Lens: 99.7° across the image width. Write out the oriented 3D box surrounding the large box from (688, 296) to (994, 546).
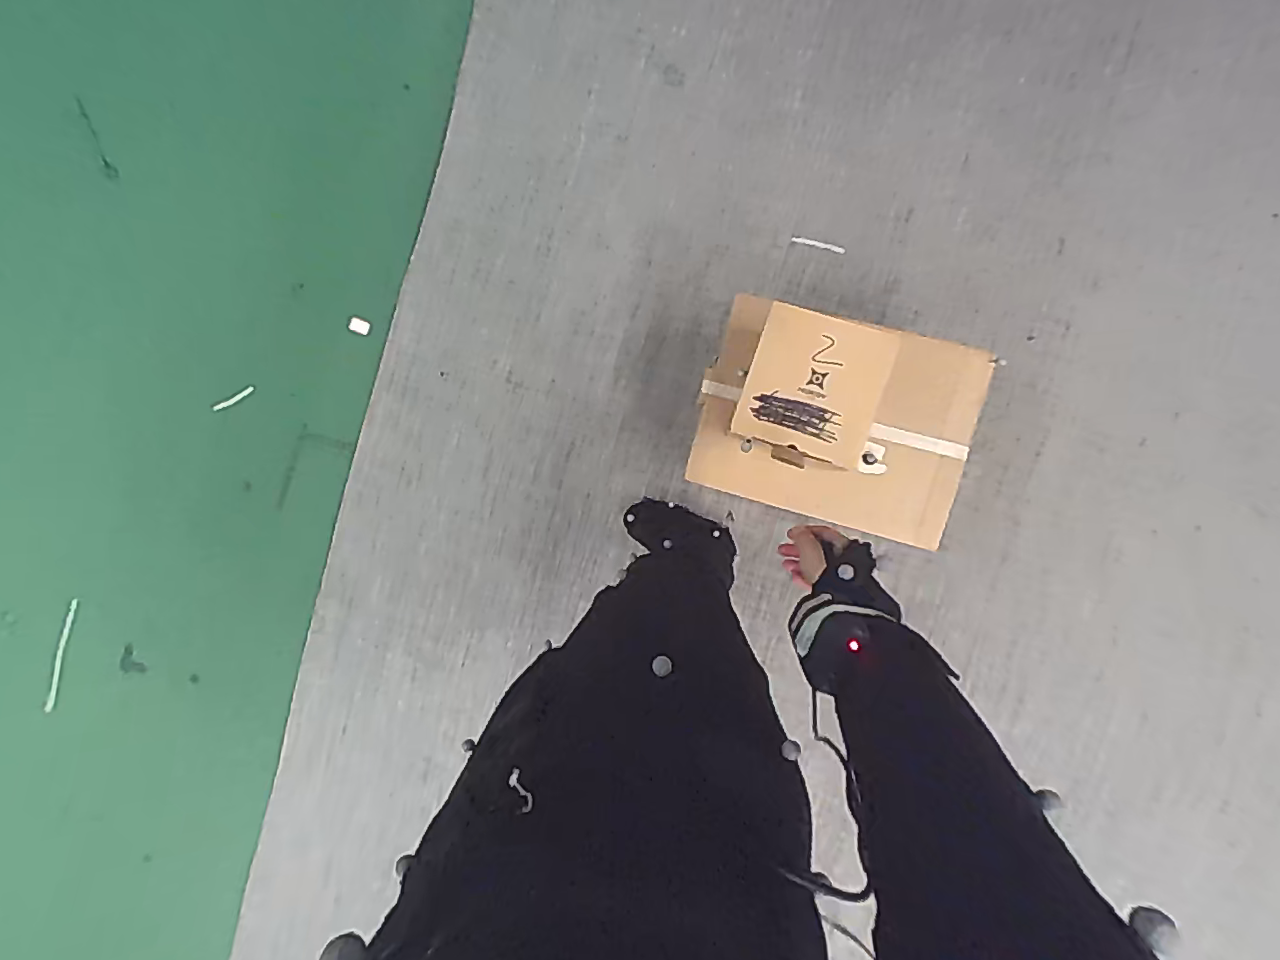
[{"bbox_3d":[0.318,-0.098,0.984,0.408,0.320,0.320,16,94,6],"label":"large box"}]
